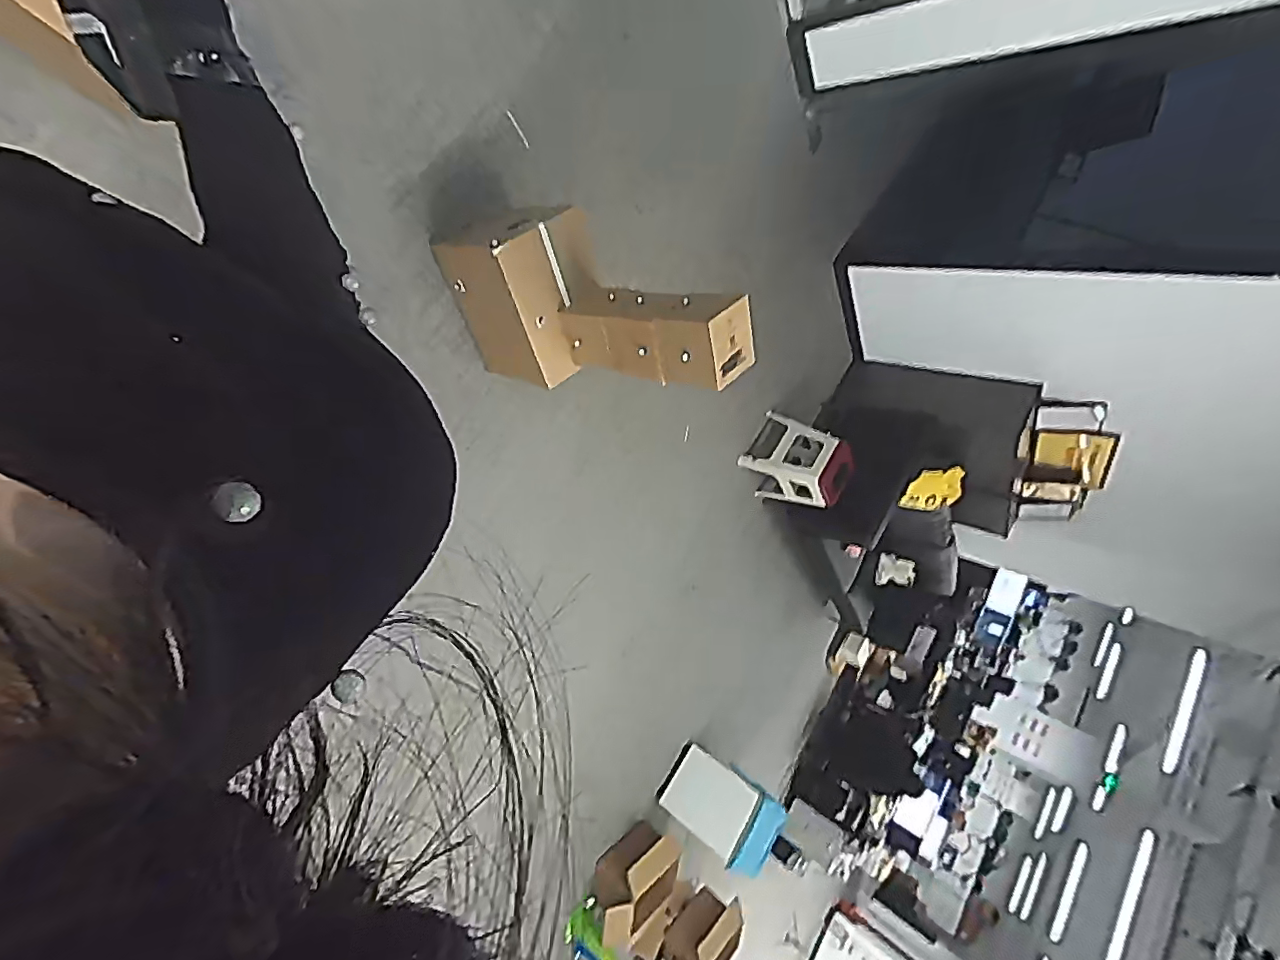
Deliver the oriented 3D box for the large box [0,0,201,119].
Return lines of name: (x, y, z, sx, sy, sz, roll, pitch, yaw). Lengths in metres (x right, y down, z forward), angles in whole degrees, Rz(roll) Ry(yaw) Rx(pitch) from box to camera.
large box: (-0.906, -0.830, 0.780, 0.408, 0.320, 0.320, 32, 81, -49)

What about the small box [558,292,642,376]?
small box: (-0.096, -0.415, 1.512, 0.179, 0.176, 0.168, -42, 134, -31)

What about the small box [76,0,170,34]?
small box: (-0.690, -0.716, 0.689, 0.179, 0.176, 0.168, 39, 76, -50)

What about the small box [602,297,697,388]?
small box: (0.025, -0.366, 1.418, 0.168, 0.176, 0.179, -41, 133, -32)
